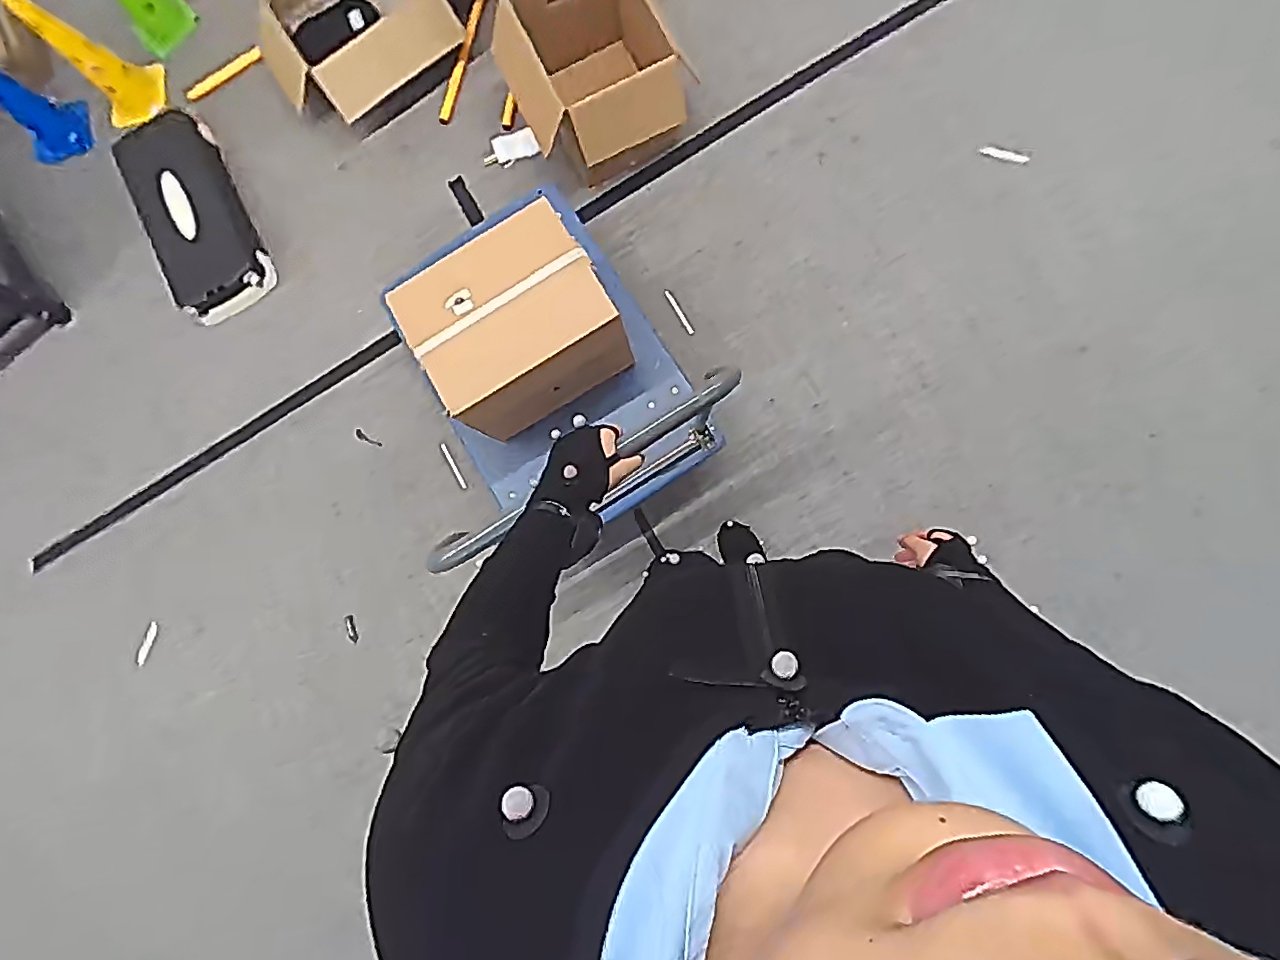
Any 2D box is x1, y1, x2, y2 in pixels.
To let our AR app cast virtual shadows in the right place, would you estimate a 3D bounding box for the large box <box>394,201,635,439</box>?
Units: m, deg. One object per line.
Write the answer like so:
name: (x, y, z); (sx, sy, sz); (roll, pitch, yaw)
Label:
large box: (-0.269, -0.347, 1.278); (0.408, 0.320, 0.320); (-32, 81, 3)
